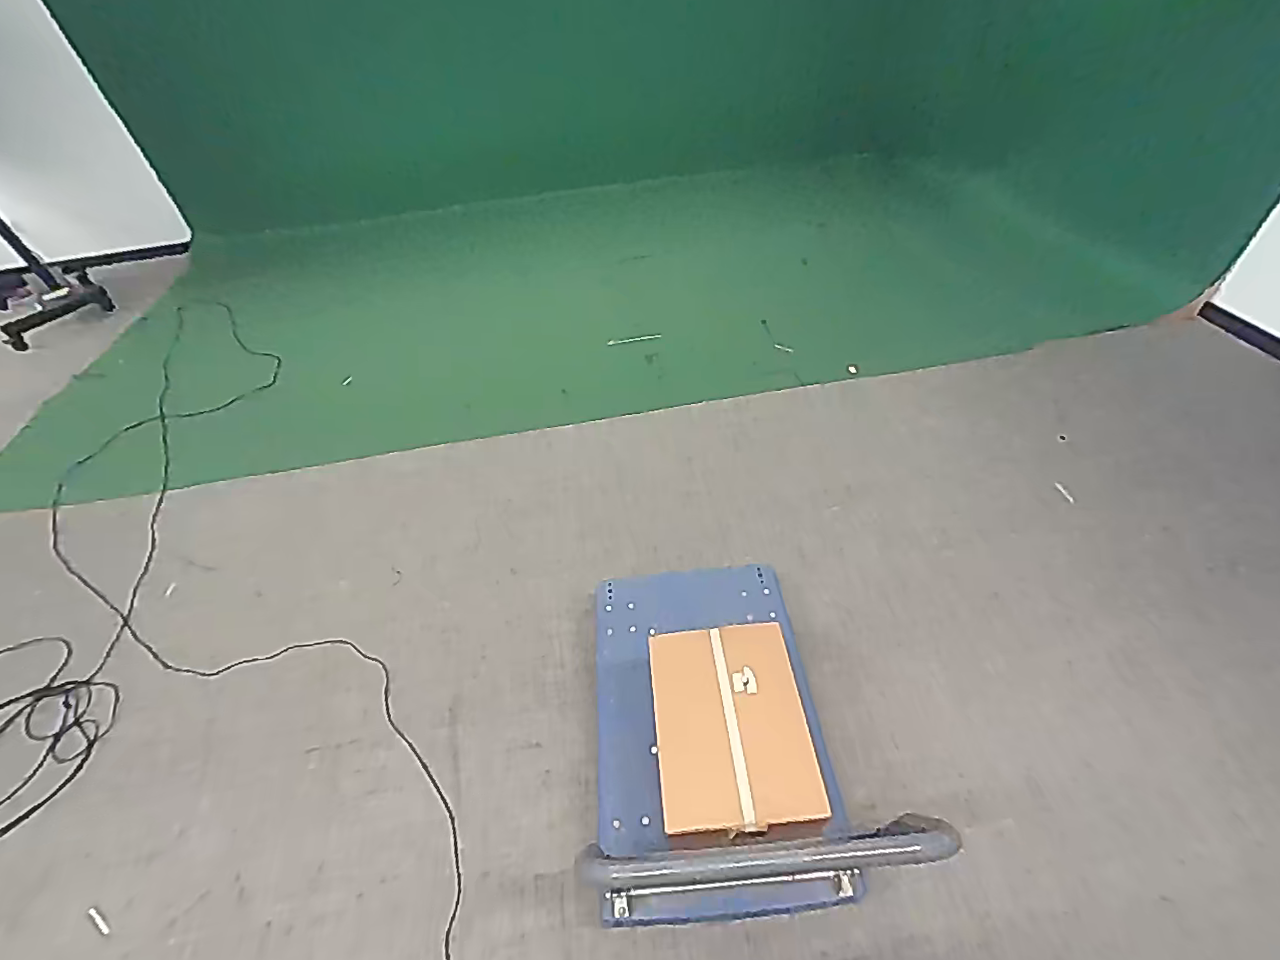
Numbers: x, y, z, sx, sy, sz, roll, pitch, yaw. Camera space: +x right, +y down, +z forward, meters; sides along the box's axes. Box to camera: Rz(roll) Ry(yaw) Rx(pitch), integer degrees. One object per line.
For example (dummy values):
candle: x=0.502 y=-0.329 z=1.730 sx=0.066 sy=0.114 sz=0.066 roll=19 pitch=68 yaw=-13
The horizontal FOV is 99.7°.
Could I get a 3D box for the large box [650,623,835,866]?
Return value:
large box: x=0.205 y=0.595 z=1.229 sx=0.320 sy=0.320 sz=0.408 roll=-6 pitch=45 yaw=0
